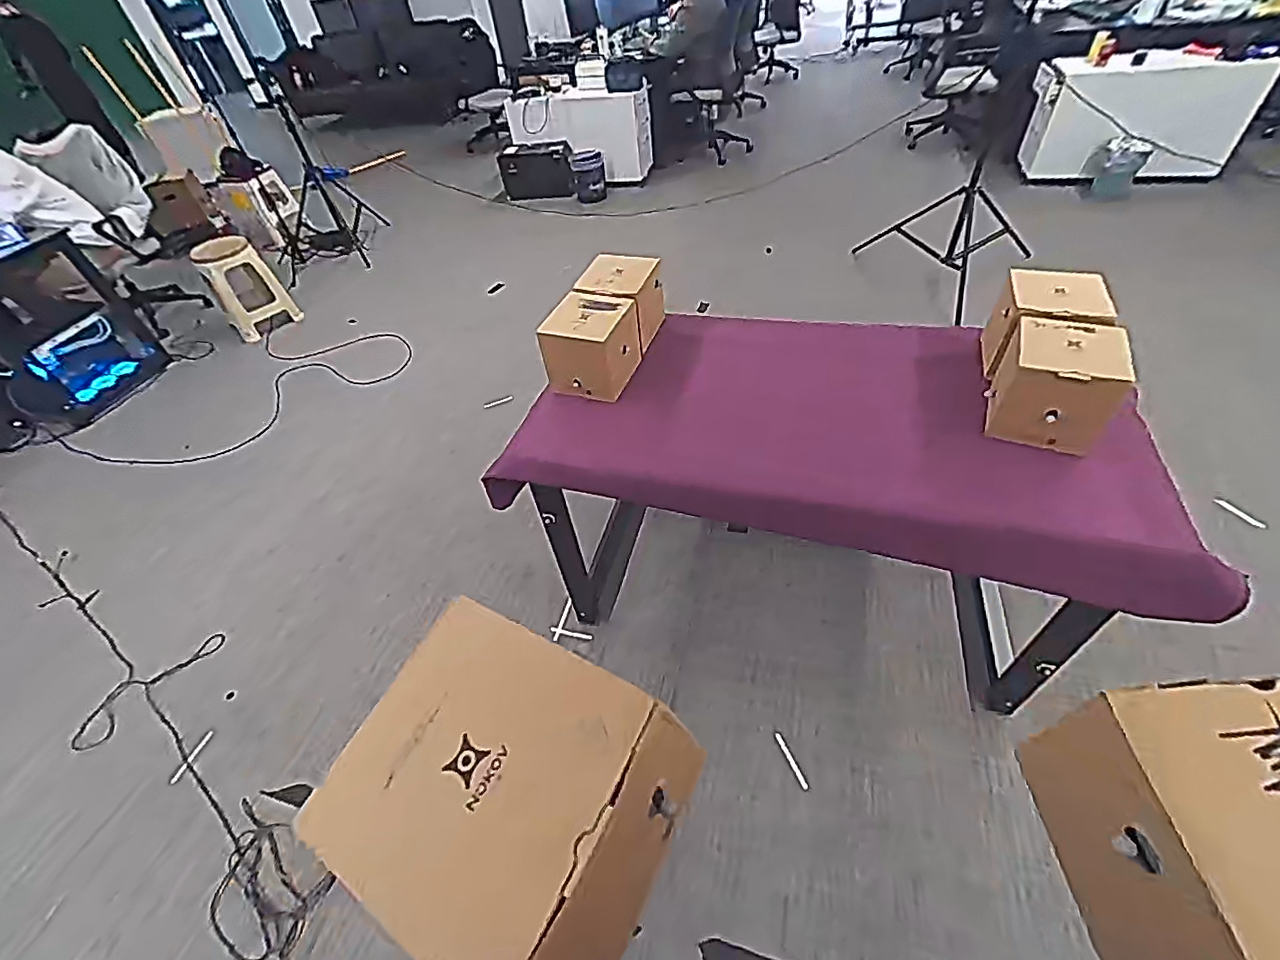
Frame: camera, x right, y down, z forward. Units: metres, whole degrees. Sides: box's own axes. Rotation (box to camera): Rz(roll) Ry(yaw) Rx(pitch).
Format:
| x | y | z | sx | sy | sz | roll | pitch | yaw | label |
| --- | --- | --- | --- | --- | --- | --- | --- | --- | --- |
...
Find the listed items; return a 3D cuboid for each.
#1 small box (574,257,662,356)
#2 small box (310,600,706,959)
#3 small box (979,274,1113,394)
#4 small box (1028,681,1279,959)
| x | y | z | sx | sy | sz | roll | pitch | yaw | label |
| --- | --- | --- | --- | --- | --- | --- | --- | --- | --- |
| -0.048 | -0.439 | 1.365 | 0.168 | 0.176 | 0.179 | 12 | 50 | 18 | small box |
| -0.070 | 0.217 | 0.382 | 0.179 | 0.176 | 0.168 | 16 | 60 | 29 | small box |
| 0.830 | -0.306 | 1.128 | 0.168 | 0.176 | 0.179 | 12 | 49 | 17 | small box |
| 0.375 | 0.233 | 0.319 | 0.168 | 0.176 | 0.179 | -9 | 51 | 9 | small box |
